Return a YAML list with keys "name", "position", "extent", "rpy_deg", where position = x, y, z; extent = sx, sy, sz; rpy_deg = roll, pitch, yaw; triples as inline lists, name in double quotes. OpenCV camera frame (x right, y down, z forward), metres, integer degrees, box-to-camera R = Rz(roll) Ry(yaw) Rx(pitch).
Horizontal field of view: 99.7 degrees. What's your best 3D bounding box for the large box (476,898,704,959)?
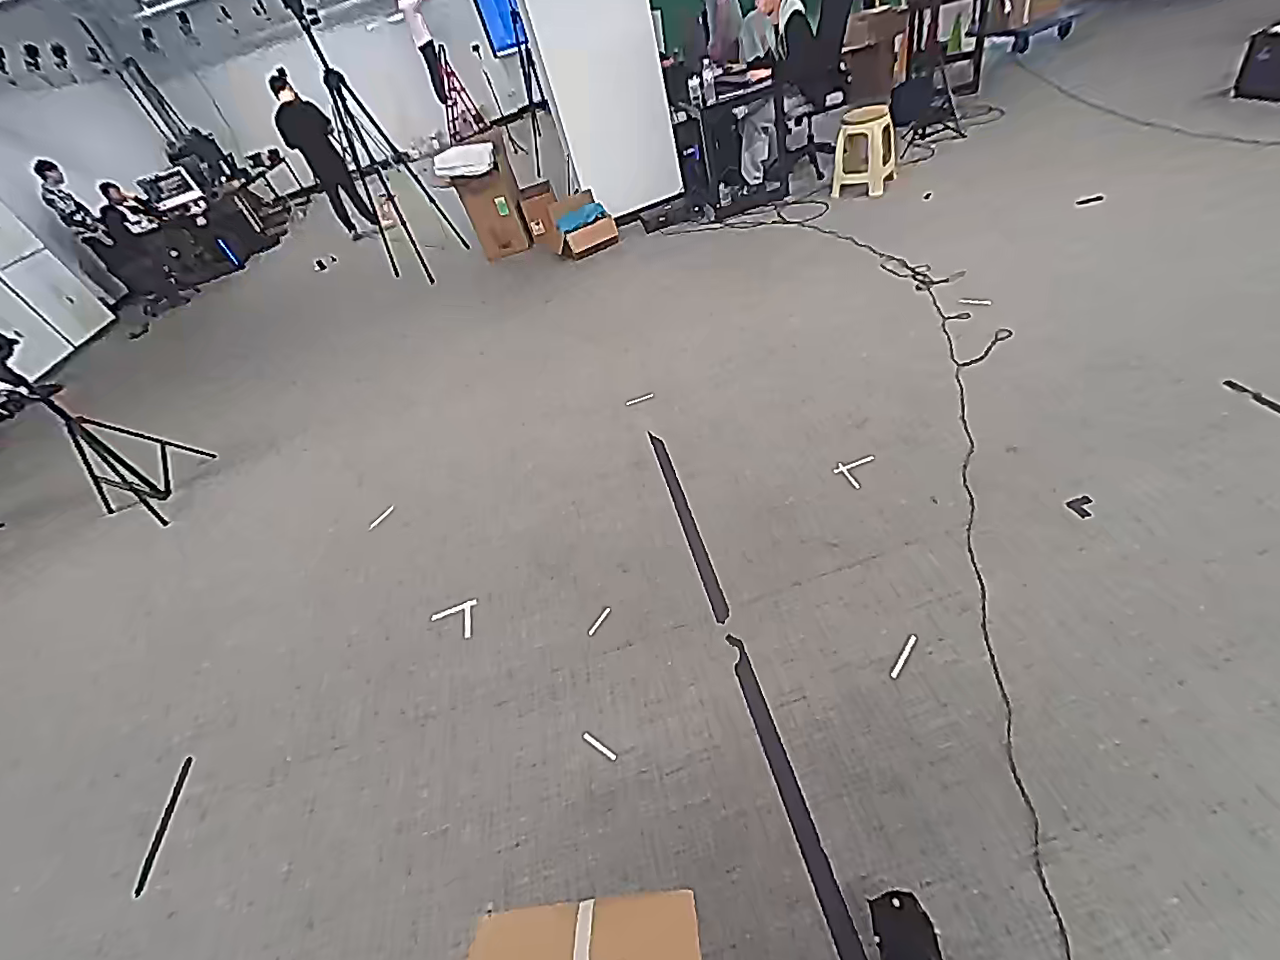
- name: "large box"
  position: [-0.052, 0.796, 0.611]
  extent: [0.320, 0.320, 0.408]
  rpy_deg: [-5, 5, 0]
